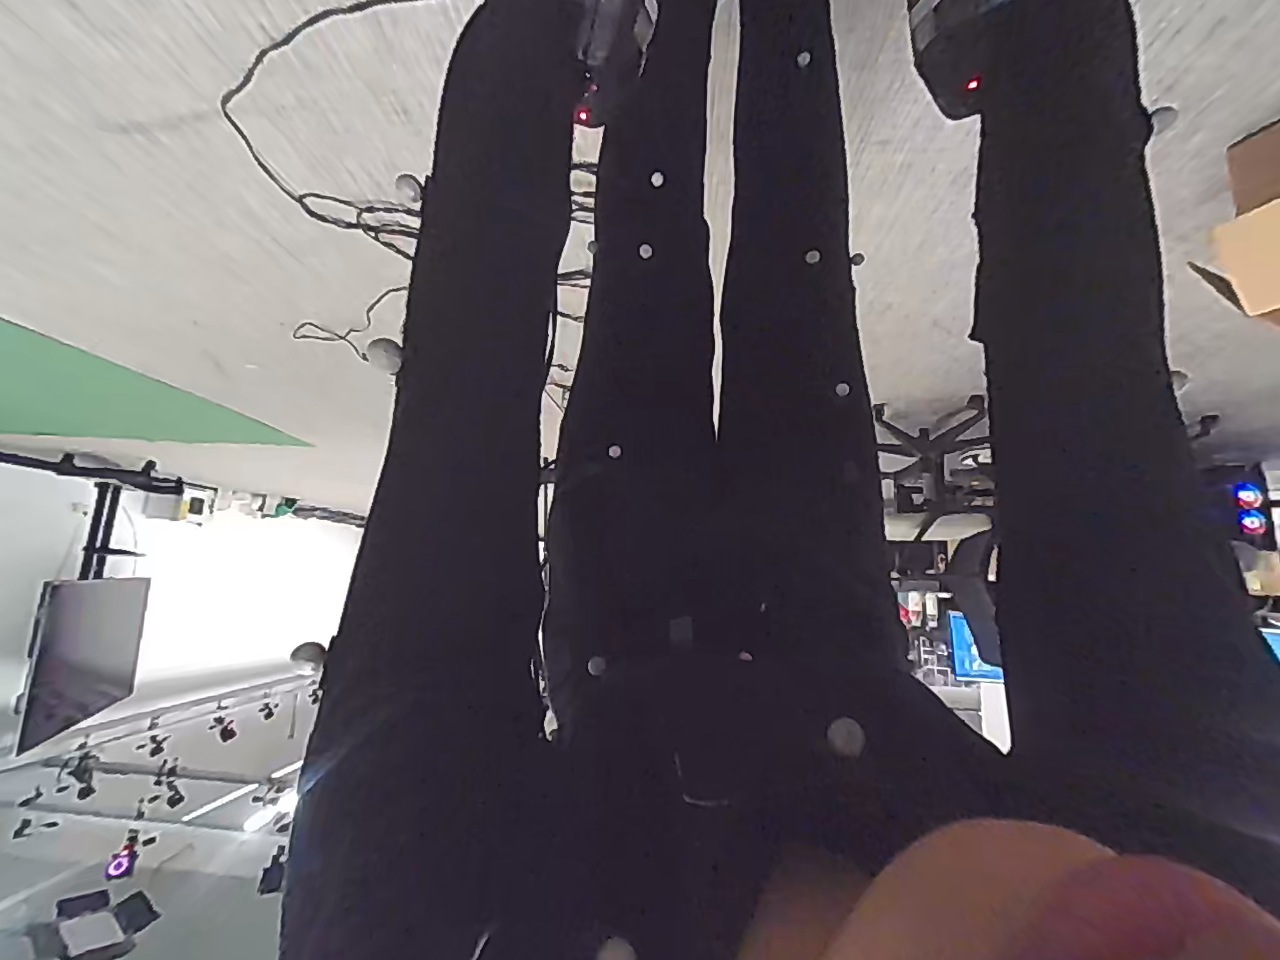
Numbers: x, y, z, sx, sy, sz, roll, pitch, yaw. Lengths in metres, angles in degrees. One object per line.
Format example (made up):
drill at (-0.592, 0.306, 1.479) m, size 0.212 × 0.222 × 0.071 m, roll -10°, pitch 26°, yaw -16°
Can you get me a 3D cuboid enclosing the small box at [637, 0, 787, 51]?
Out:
small box at (0.080, -0.620, 0.587) m, size 0.168 × 0.176 × 0.179 m, roll -7°, pitch 173°, yaw -4°
